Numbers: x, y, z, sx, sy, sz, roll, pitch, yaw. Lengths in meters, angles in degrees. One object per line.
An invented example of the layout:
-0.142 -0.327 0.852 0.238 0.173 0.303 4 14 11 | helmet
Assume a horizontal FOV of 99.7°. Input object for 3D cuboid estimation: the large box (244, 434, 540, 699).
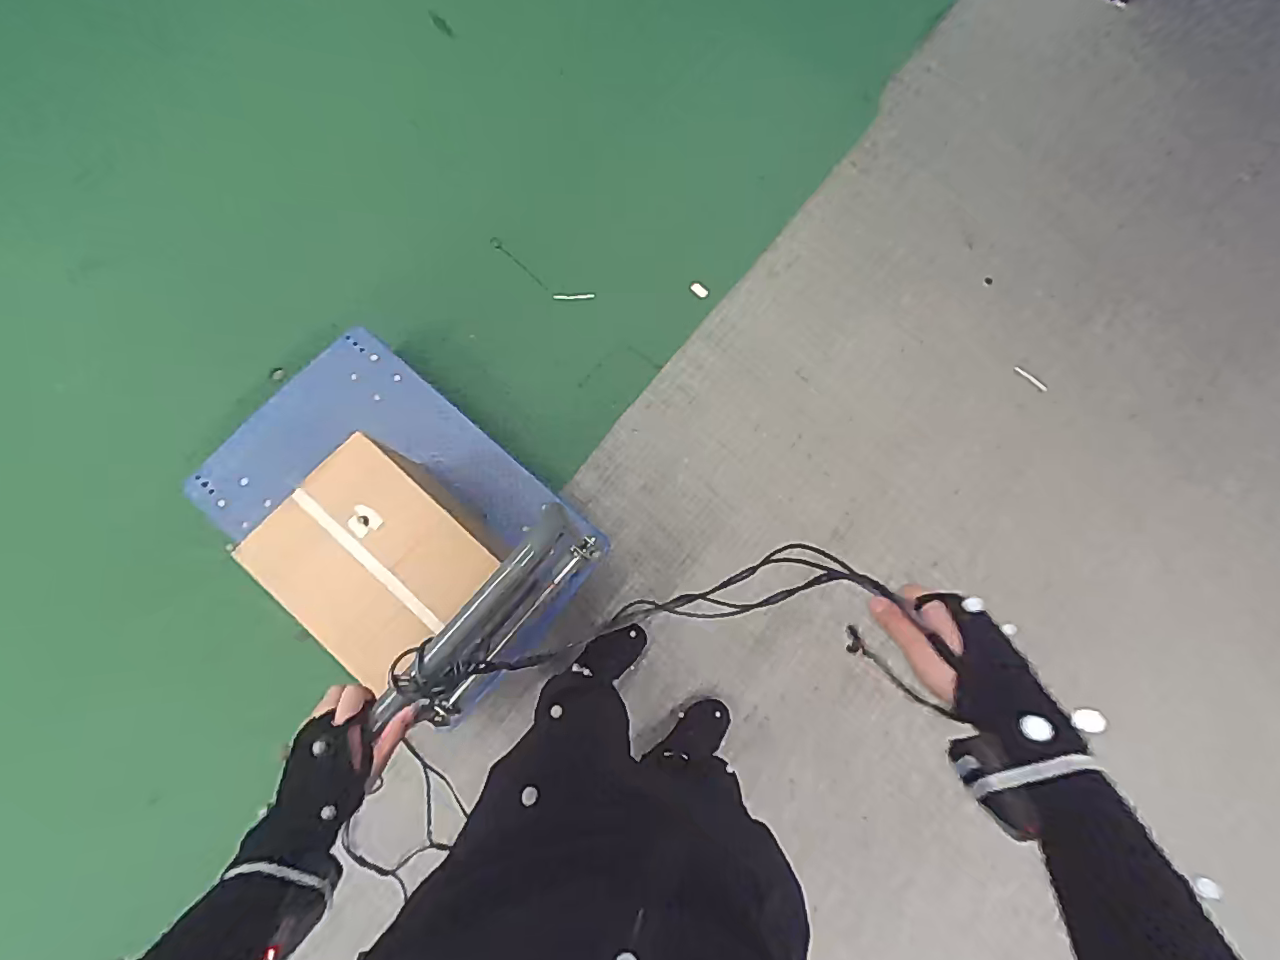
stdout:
-0.476 0.175 1.132 0.408 0.320 0.320 41 81 6 | large box
